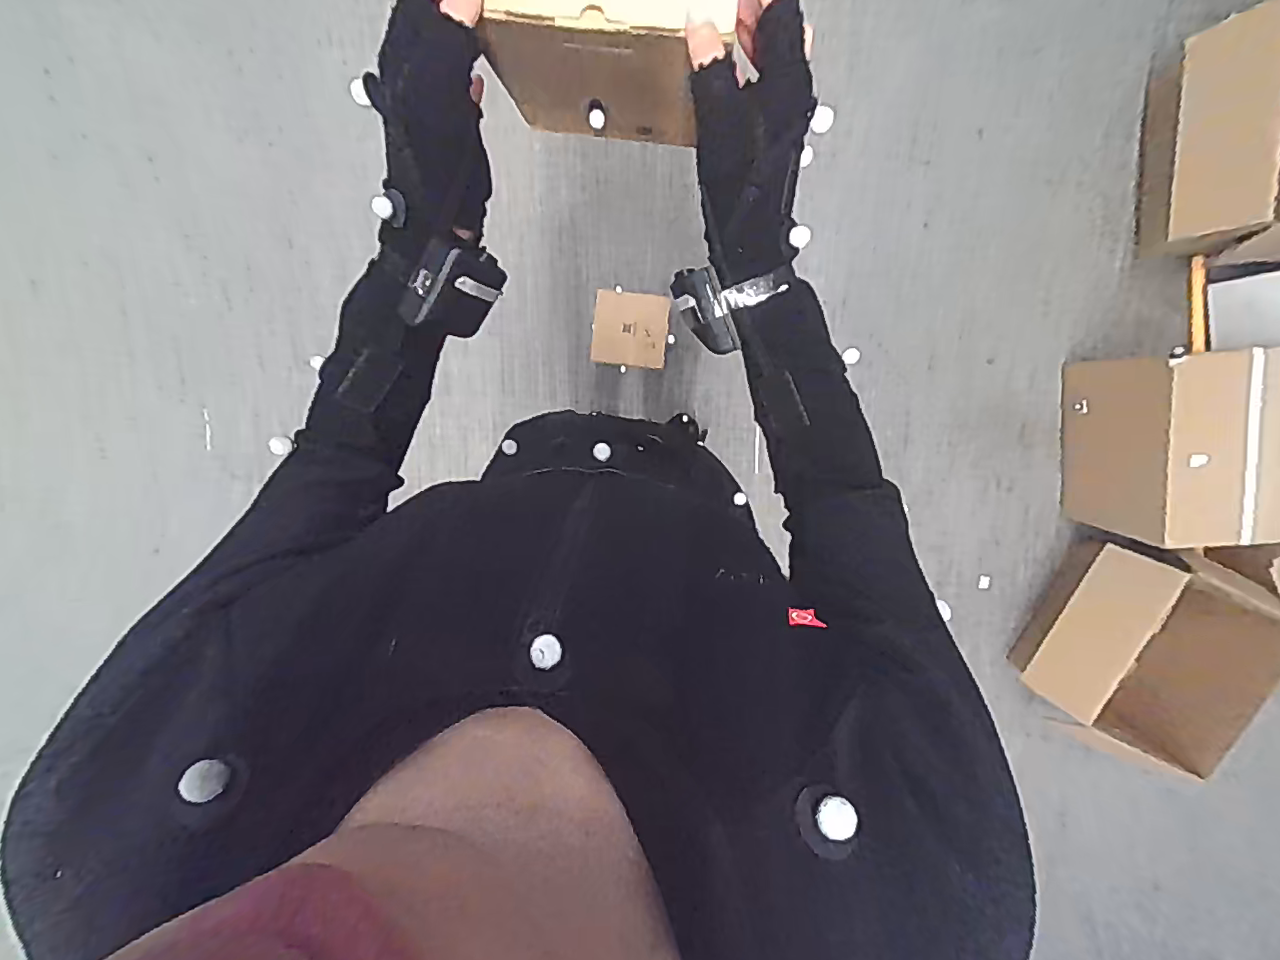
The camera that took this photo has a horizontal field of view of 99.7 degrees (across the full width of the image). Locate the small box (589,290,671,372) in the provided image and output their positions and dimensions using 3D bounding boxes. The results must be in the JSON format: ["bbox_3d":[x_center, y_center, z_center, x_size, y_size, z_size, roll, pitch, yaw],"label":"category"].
[{"bbox_3d":[-0.020,-0.360,1.333,0.179,0.176,0.168,7,100,2],"label":"small box"}]
